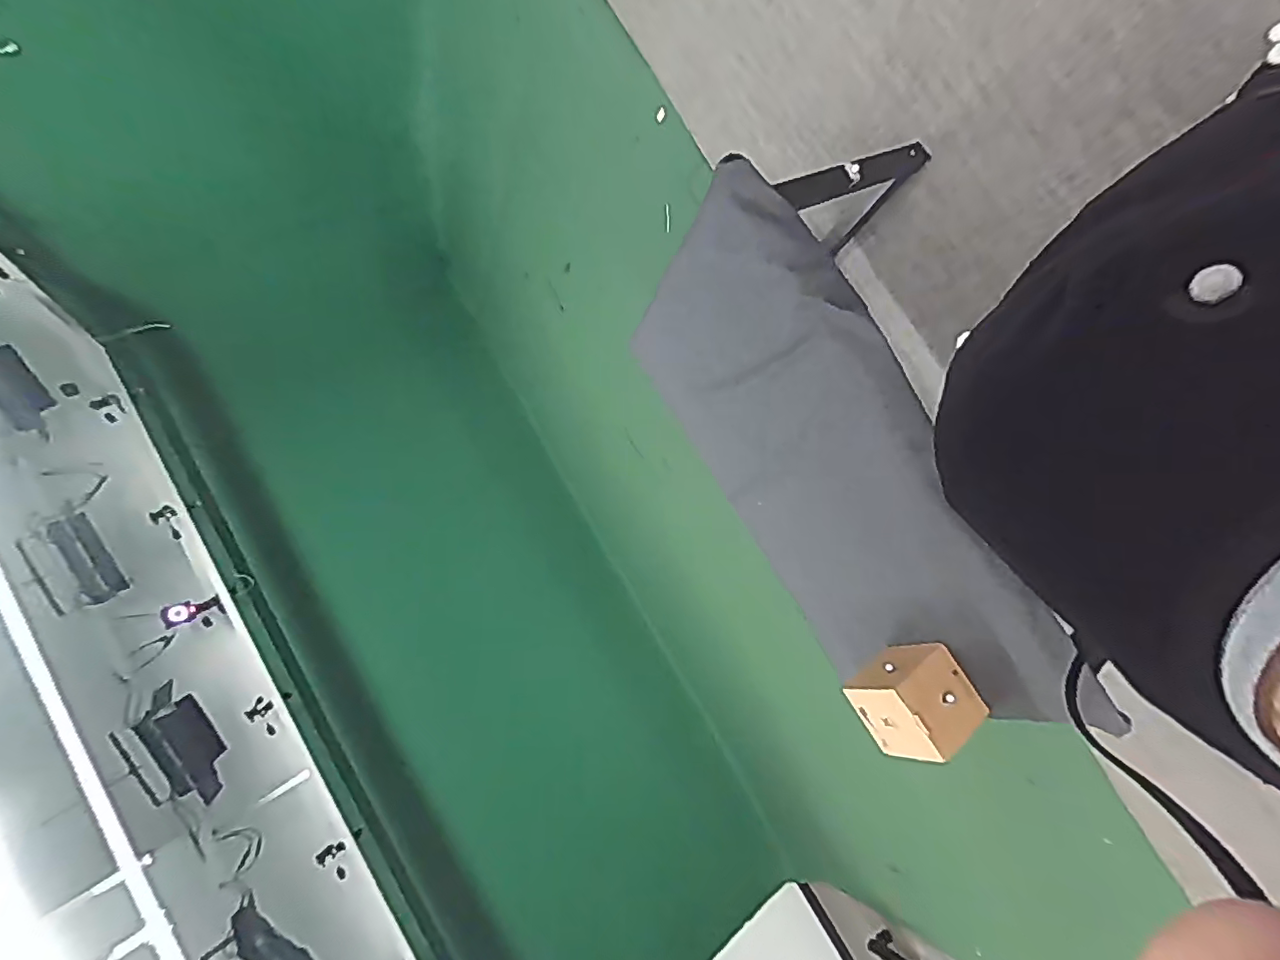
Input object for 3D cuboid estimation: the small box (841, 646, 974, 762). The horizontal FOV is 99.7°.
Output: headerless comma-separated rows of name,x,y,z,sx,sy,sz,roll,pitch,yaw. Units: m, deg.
small box,0.586,0.480,1.176,0.168,0.176,0.179,57,153,8
